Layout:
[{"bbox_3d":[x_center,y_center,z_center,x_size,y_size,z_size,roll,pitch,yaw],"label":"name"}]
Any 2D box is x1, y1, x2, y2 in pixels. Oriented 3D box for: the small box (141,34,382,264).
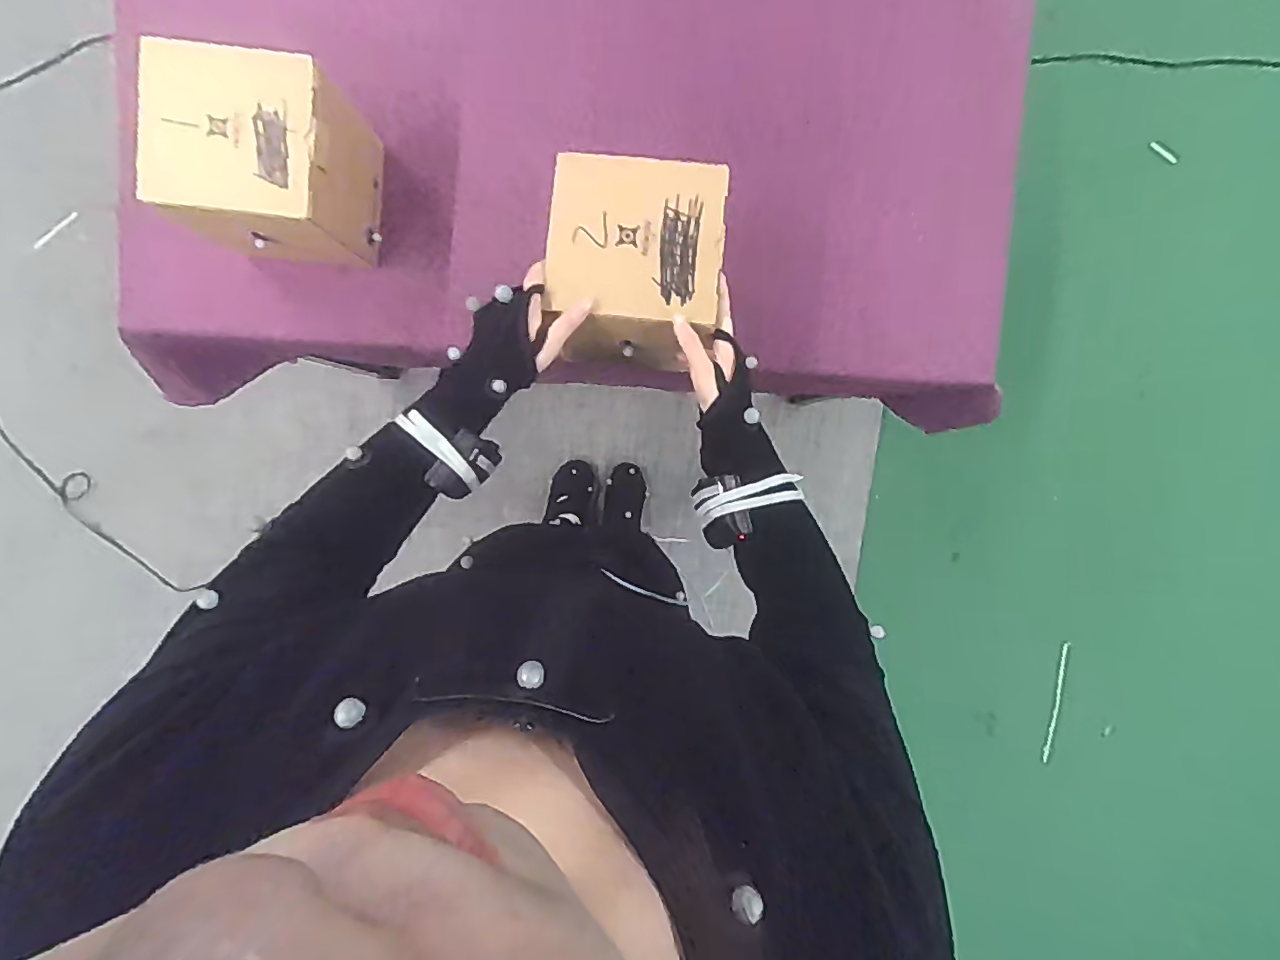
[{"bbox_3d":[-0.426,-0.368,0.637,0.179,0.176,0.168,5,94,-3],"label":"small box"}]
